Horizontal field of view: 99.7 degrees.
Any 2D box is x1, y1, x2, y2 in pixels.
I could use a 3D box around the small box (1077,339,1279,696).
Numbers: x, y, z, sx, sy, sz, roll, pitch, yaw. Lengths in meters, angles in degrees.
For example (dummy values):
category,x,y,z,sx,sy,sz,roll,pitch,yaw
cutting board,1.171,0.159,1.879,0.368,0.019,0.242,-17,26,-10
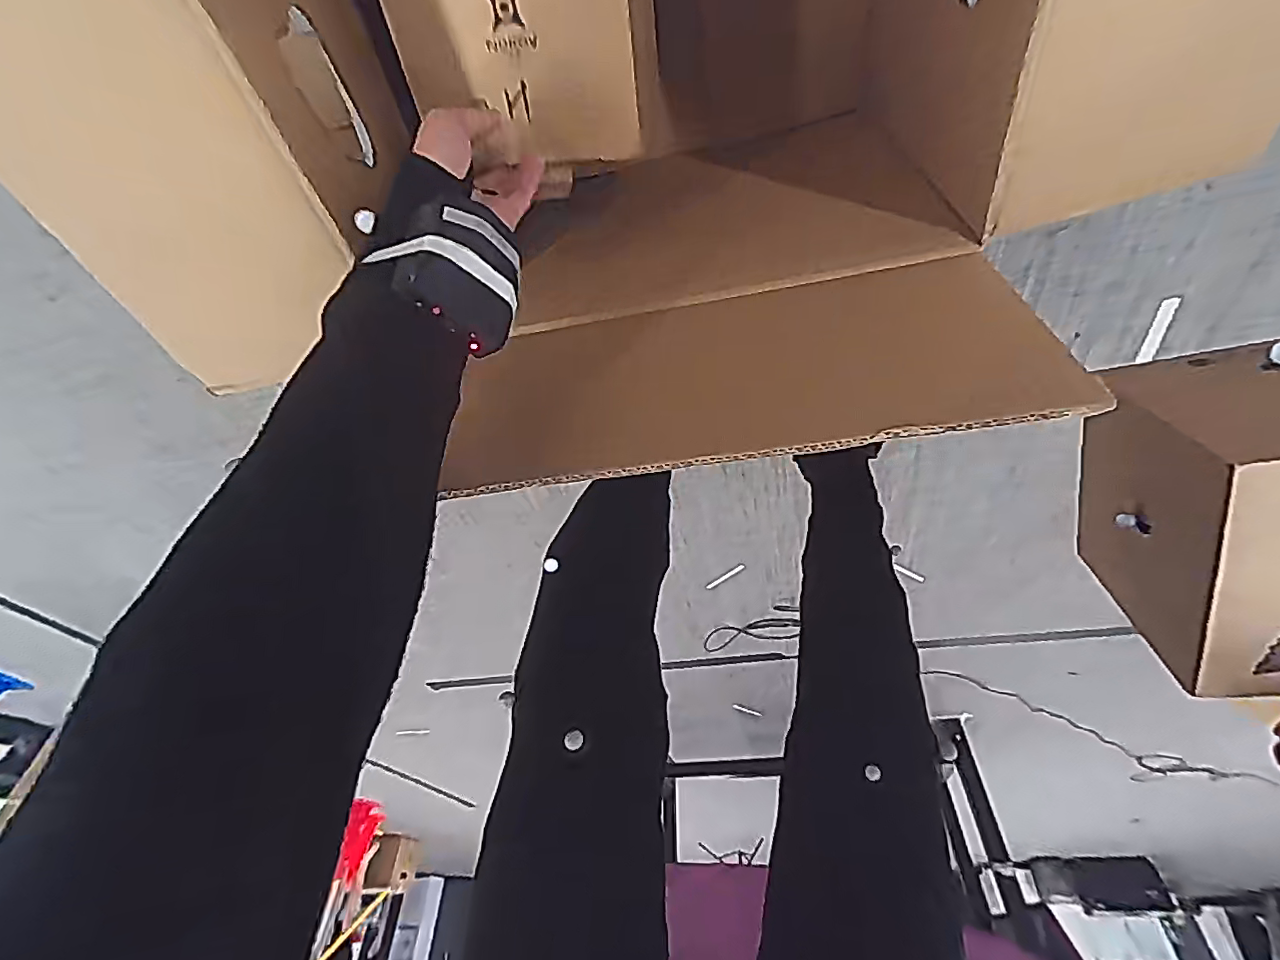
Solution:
category,x,y,z,sx,sy,sz,roll,pitch,yaw
small box,0.426,0.018,0.359,0.168,0.176,0.179,-9,115,19
